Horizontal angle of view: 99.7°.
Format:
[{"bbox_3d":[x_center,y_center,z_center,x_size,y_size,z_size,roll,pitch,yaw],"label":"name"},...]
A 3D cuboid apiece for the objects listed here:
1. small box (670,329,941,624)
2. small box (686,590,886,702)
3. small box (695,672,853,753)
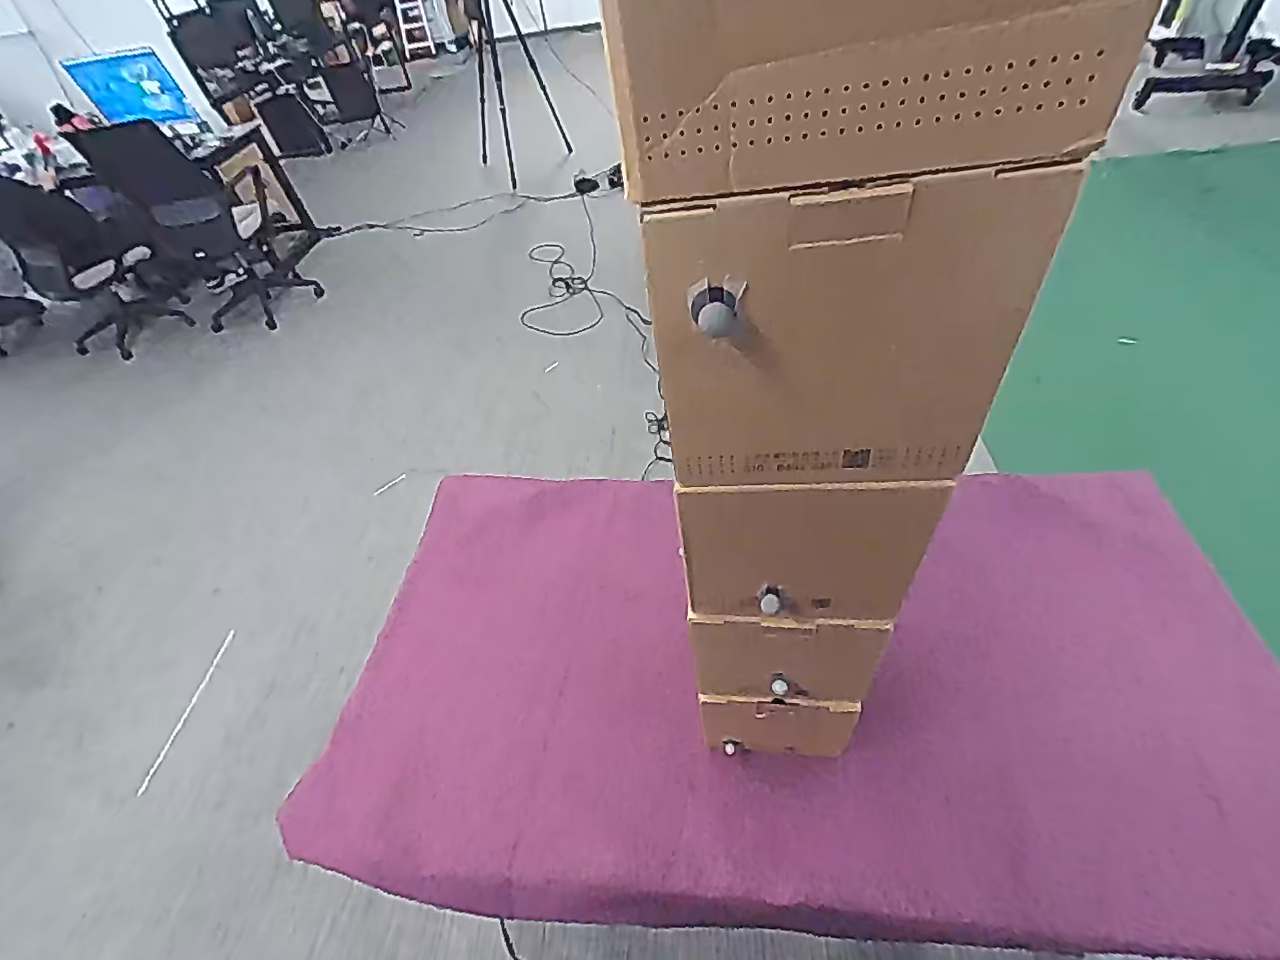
[{"bbox_3d":[0.119,-0.003,0.447,0.168,0.176,0.179,-1,48,10],"label":"small box"},{"bbox_3d":[0.139,0.109,0.564,0.168,0.176,0.179,-1,48,10],"label":"small box"},{"bbox_3d":[0.162,0.224,0.678,0.168,0.176,0.179,0,48,10],"label":"small box"}]
